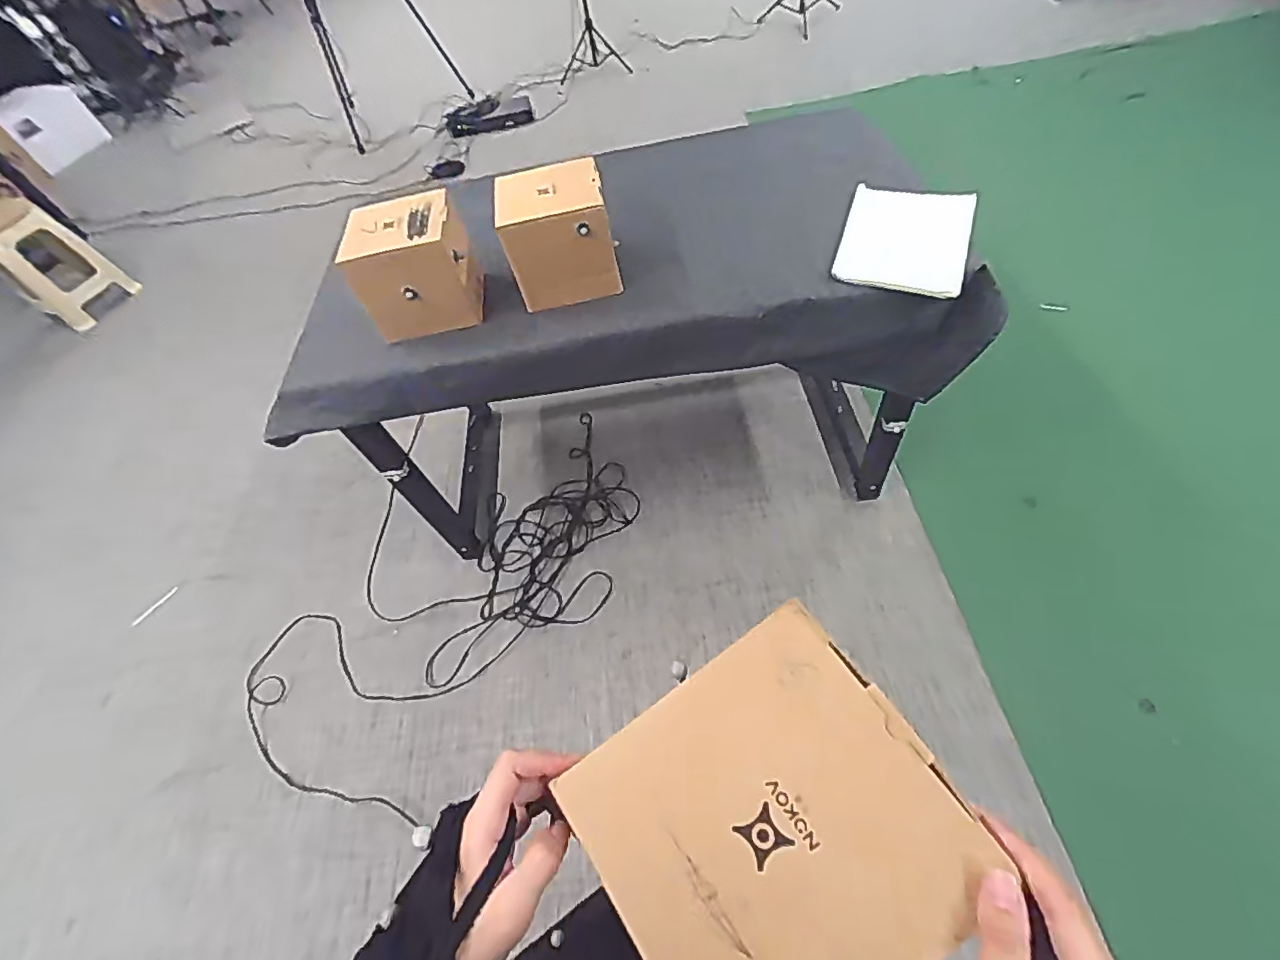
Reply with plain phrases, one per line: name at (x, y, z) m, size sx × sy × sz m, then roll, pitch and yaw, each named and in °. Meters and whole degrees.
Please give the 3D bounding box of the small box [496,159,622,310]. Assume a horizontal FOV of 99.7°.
small box at (-0.139, -0.425, 0.951) m, size 0.179 × 0.176 × 0.168 m, roll -12°, pitch 54°, yaw 1°
